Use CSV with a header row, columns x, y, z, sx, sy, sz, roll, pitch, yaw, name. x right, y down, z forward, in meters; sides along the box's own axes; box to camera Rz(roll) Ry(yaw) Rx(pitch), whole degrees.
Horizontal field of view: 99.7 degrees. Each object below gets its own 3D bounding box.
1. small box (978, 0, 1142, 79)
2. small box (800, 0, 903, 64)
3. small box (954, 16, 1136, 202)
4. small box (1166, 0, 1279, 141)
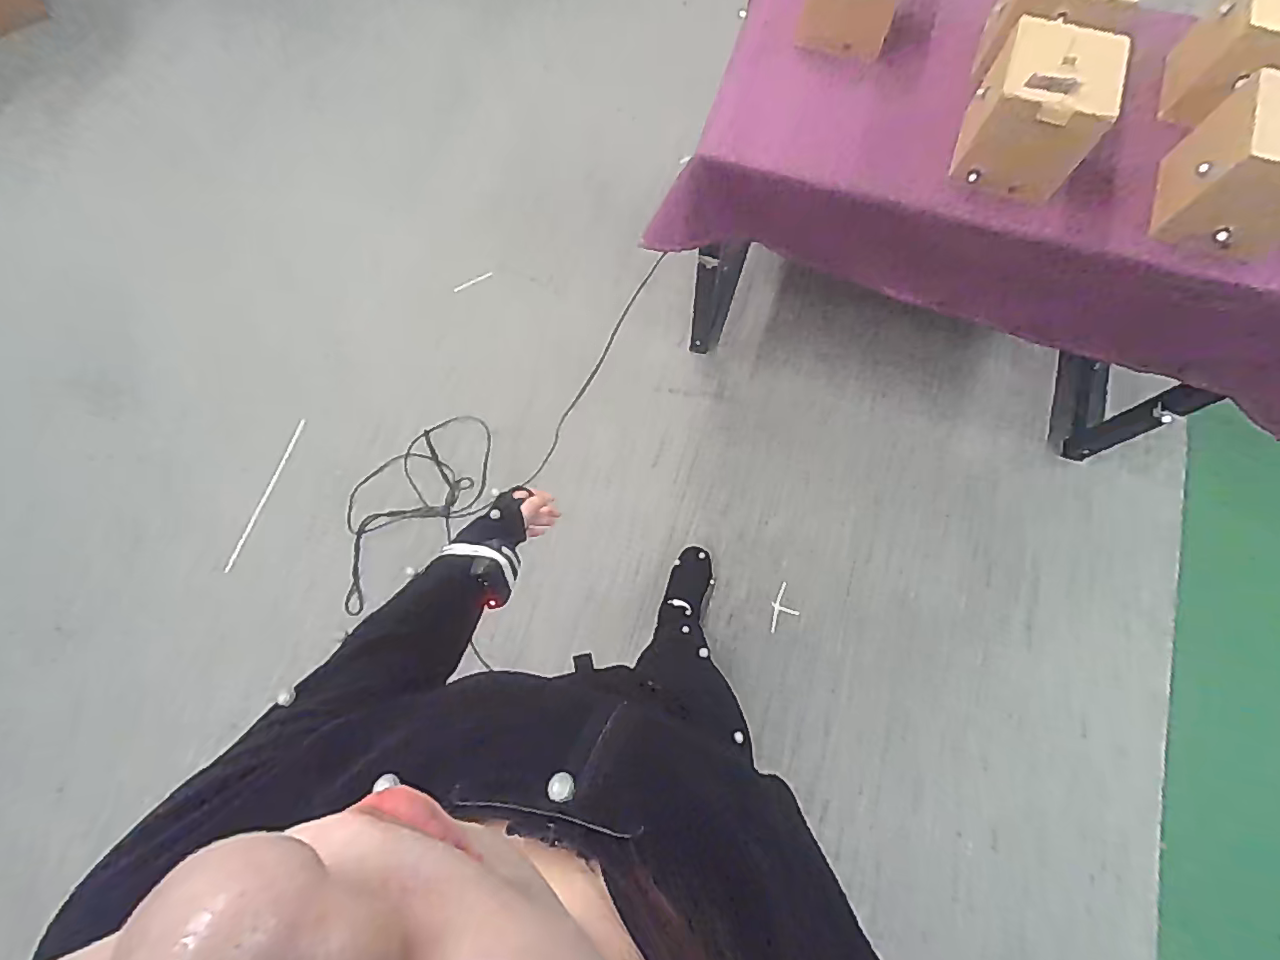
x,y,z,sx,sy,sz,roll,pitch,yaw,name
0.736,-0.820,0.949,0.179,0.176,0.168,21,76,8,small box
0.408,-0.922,0.991,0.168,0.176,0.179,19,75,8,small box
0.648,-0.595,0.885,0.168,0.176,0.179,20,74,8,small box
1.043,-0.714,0.904,0.168,0.176,0.179,21,75,9,small box
